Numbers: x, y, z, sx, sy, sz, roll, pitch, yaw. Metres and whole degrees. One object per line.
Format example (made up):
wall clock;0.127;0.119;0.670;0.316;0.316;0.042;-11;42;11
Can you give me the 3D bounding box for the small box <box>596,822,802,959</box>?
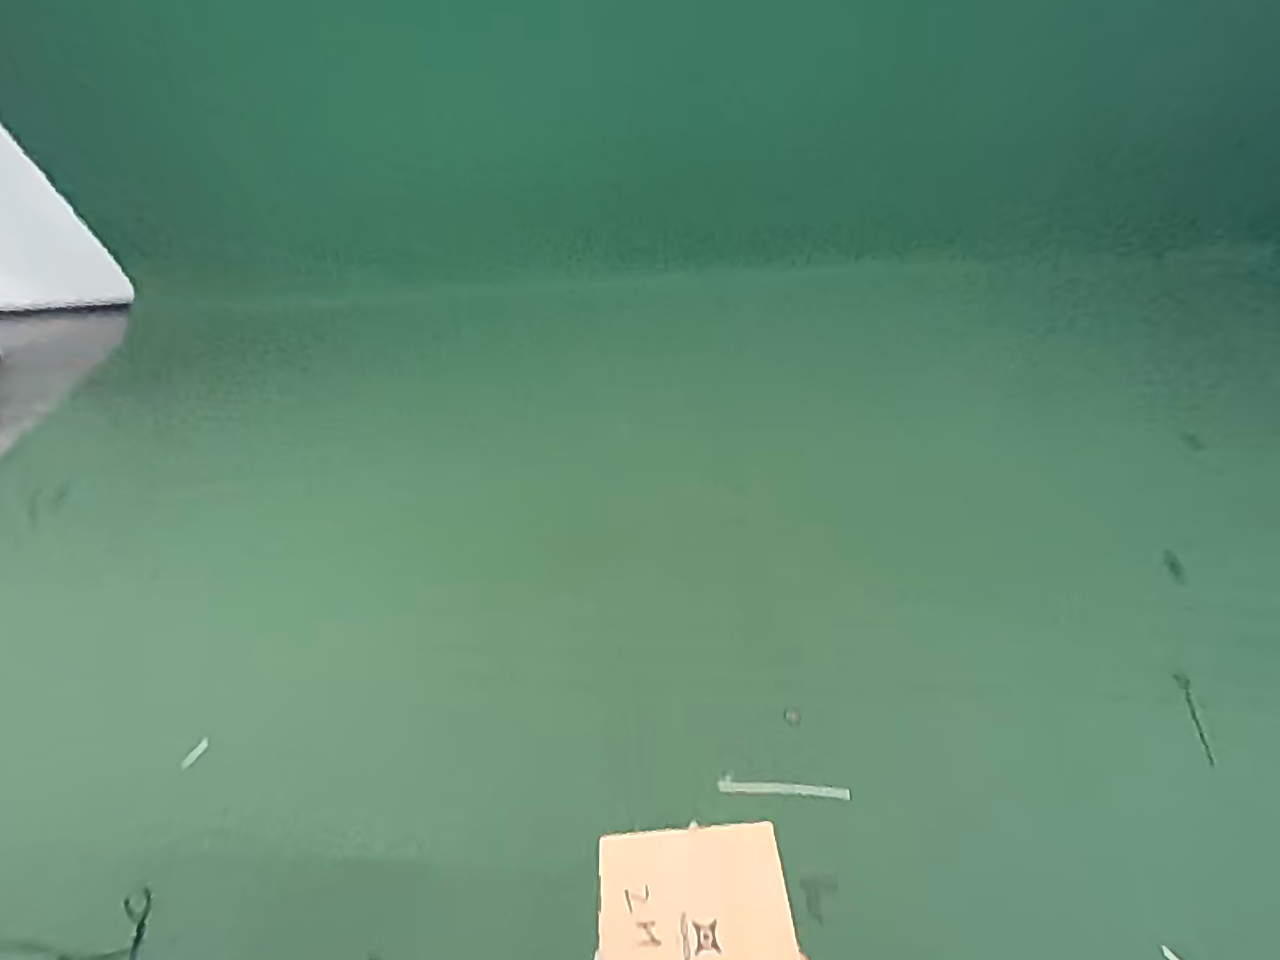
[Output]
small box;0.053;0.449;0.521;0.179;0.176;0.168;-5;44;0
